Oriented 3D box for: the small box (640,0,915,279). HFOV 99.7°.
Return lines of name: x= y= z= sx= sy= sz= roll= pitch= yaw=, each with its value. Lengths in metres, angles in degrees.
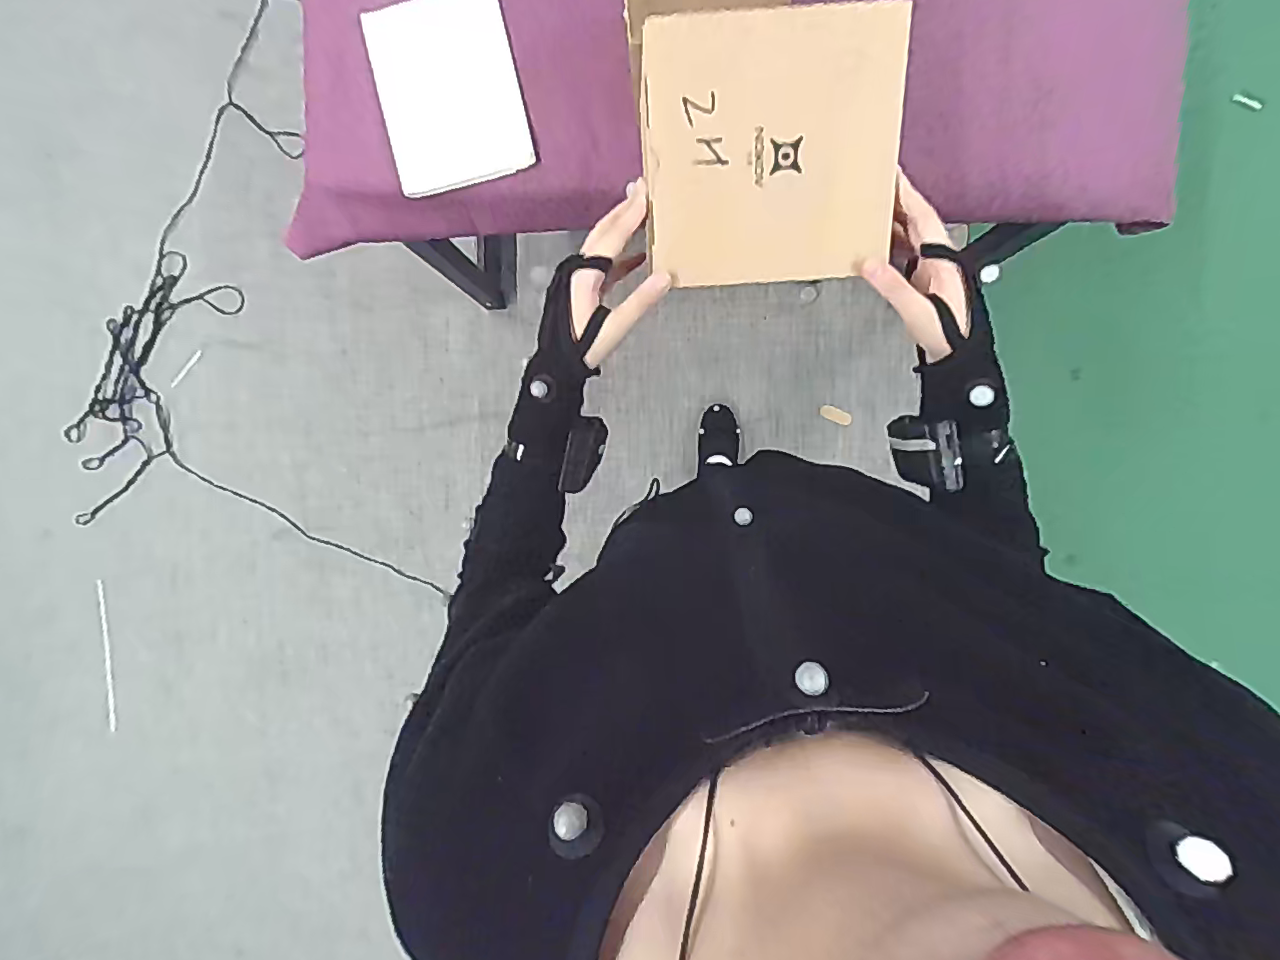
small box: x=0.091 y=-0.257 z=0.445 sx=0.179 sy=0.176 sz=0.168 roll=-3 pitch=109 yaw=1
